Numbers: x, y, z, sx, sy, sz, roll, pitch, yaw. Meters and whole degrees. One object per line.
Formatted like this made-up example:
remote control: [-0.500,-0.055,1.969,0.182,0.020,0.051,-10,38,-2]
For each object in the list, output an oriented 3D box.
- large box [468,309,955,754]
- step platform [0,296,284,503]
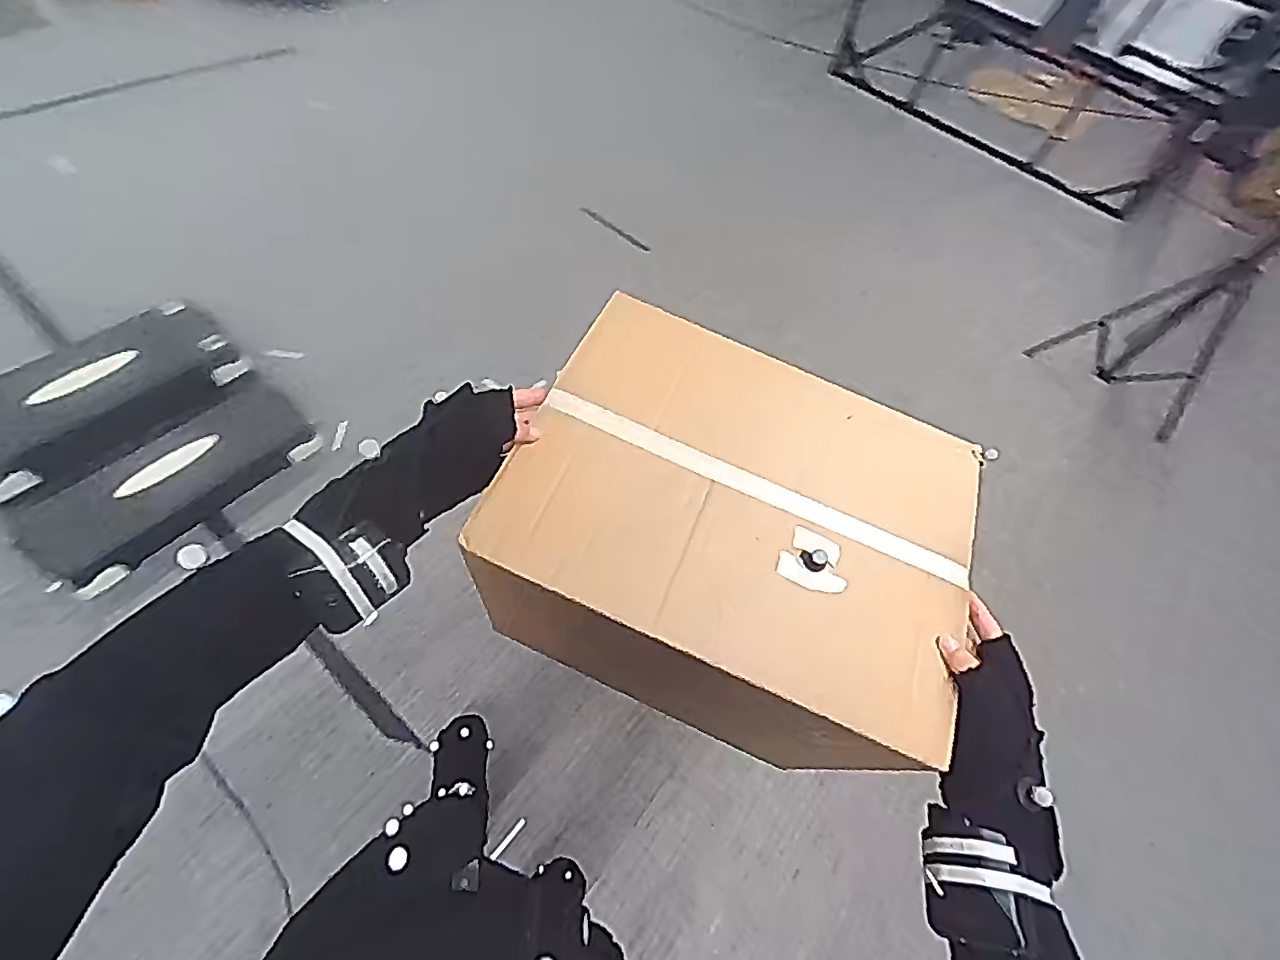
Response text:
large box: [0.068,0.079,0.627,0.408,0.320,0.320,24,62,2]
step platform: [-1.428,-0.252,1.537,0.286,0.204,0.684,37,59,13]
